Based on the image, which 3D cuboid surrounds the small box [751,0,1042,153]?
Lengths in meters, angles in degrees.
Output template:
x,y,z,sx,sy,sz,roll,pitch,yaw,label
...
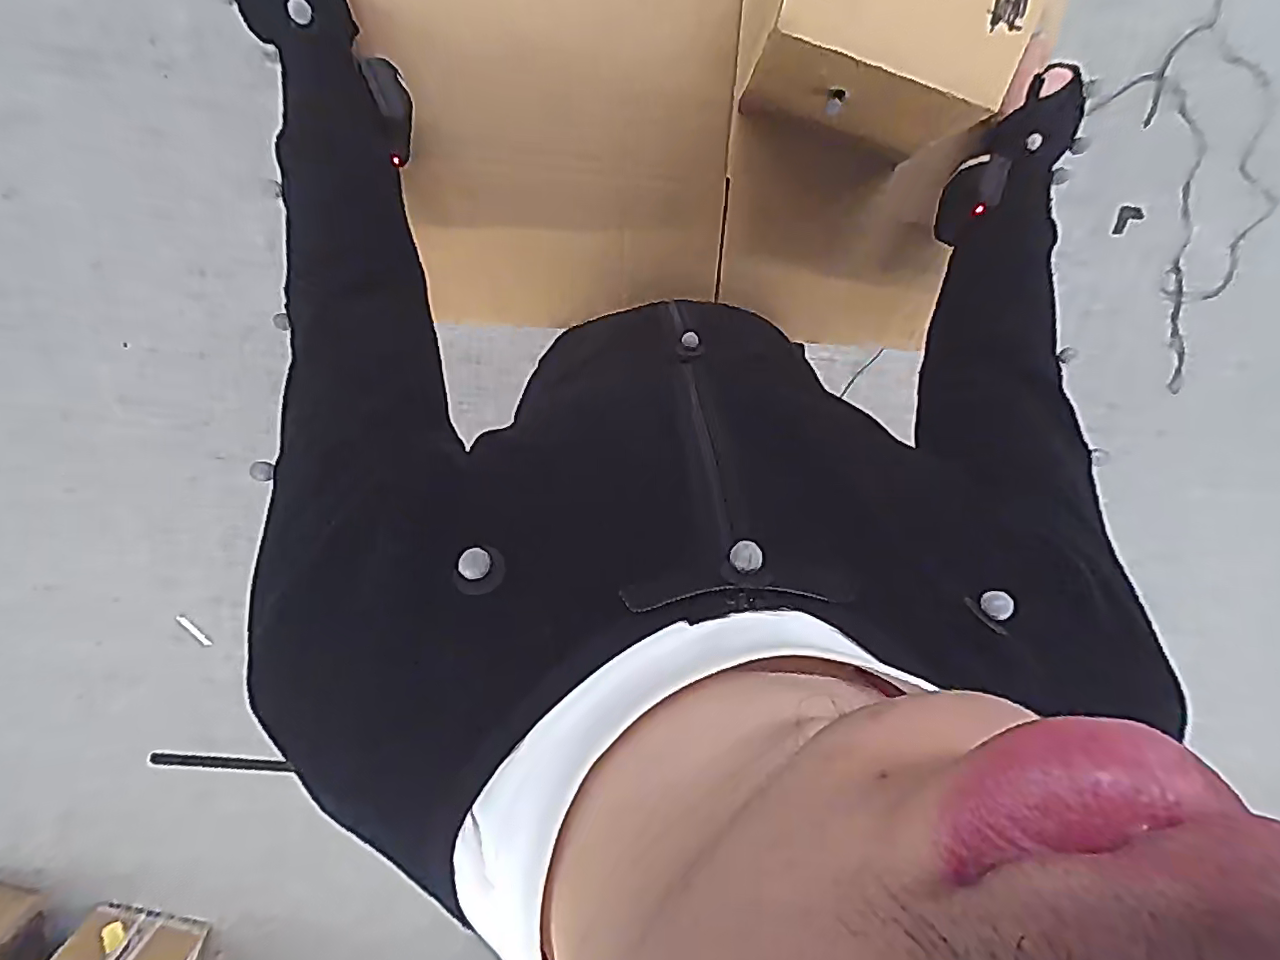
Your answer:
x,y,z,sx,sy,sz,roll,pitch,yaw,label
0.205,-0.397,0.442,0.179,0.176,0.168,17,108,-3,small box
